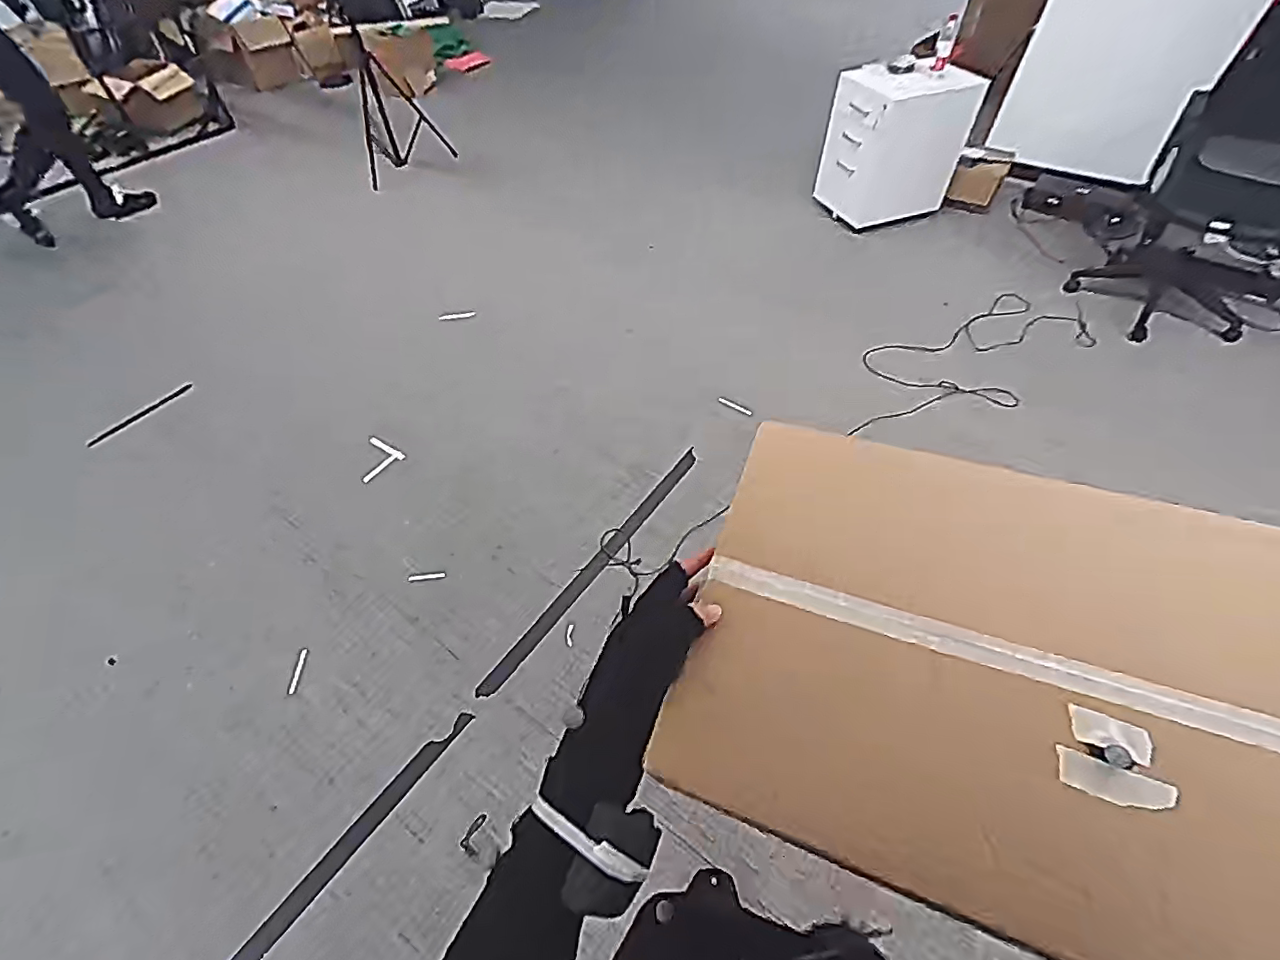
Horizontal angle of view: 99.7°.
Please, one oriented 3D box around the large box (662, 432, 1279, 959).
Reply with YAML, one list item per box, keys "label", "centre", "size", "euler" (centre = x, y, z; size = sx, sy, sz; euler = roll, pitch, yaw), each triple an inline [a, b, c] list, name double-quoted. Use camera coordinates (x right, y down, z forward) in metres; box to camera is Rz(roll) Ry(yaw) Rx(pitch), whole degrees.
- label: "large box"
  centre: [0.270, 0.200, 0.512]
  size: [0.408, 0.320, 0.320]
  euler: [15, 64, 19]
